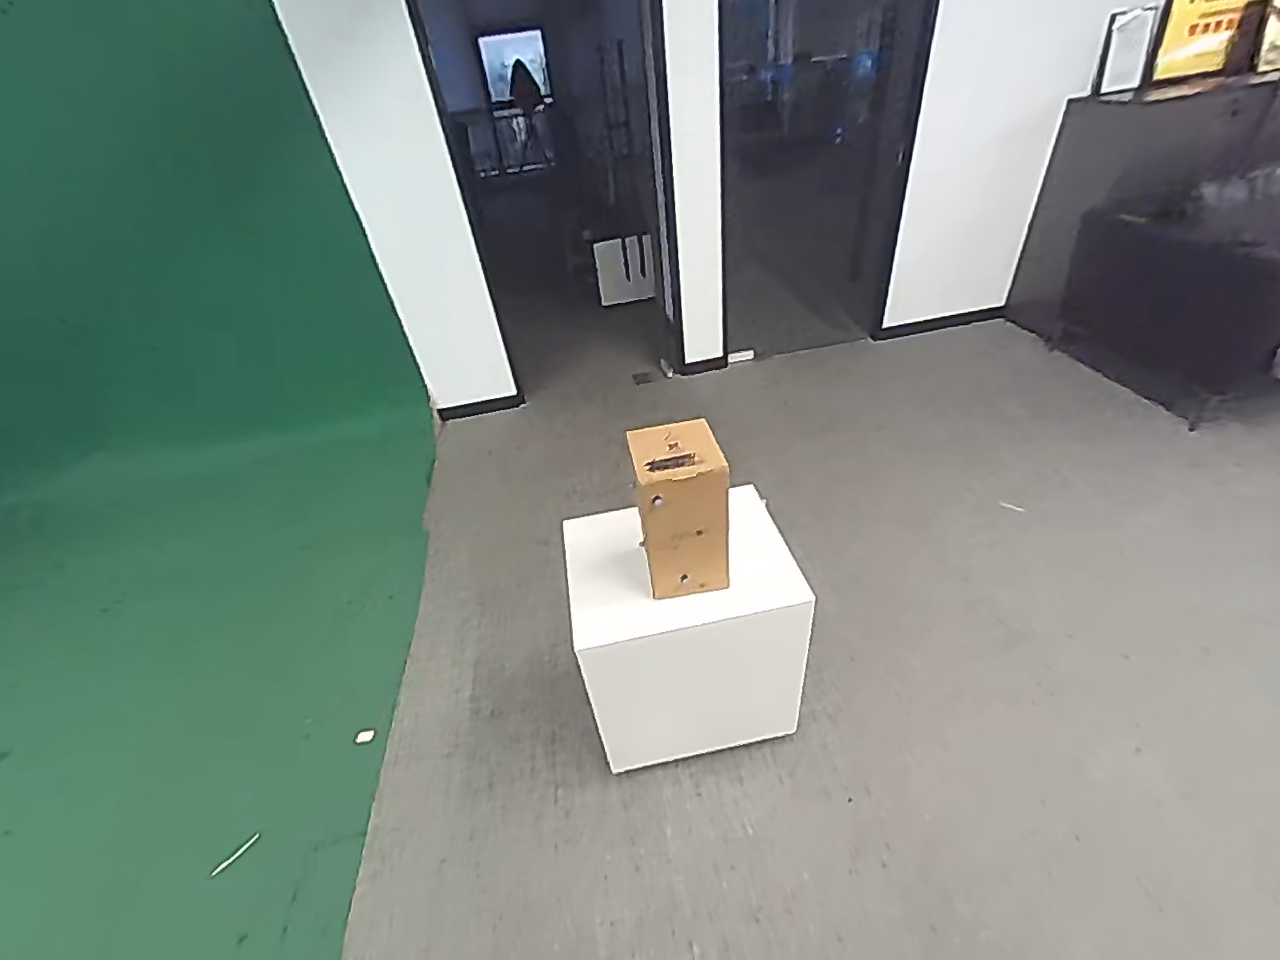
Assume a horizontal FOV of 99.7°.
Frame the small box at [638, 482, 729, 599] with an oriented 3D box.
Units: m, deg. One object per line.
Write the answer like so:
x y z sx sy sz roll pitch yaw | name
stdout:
0.092 0.130 1.170 0.168 0.176 0.179 -9 37 -2 | small box
